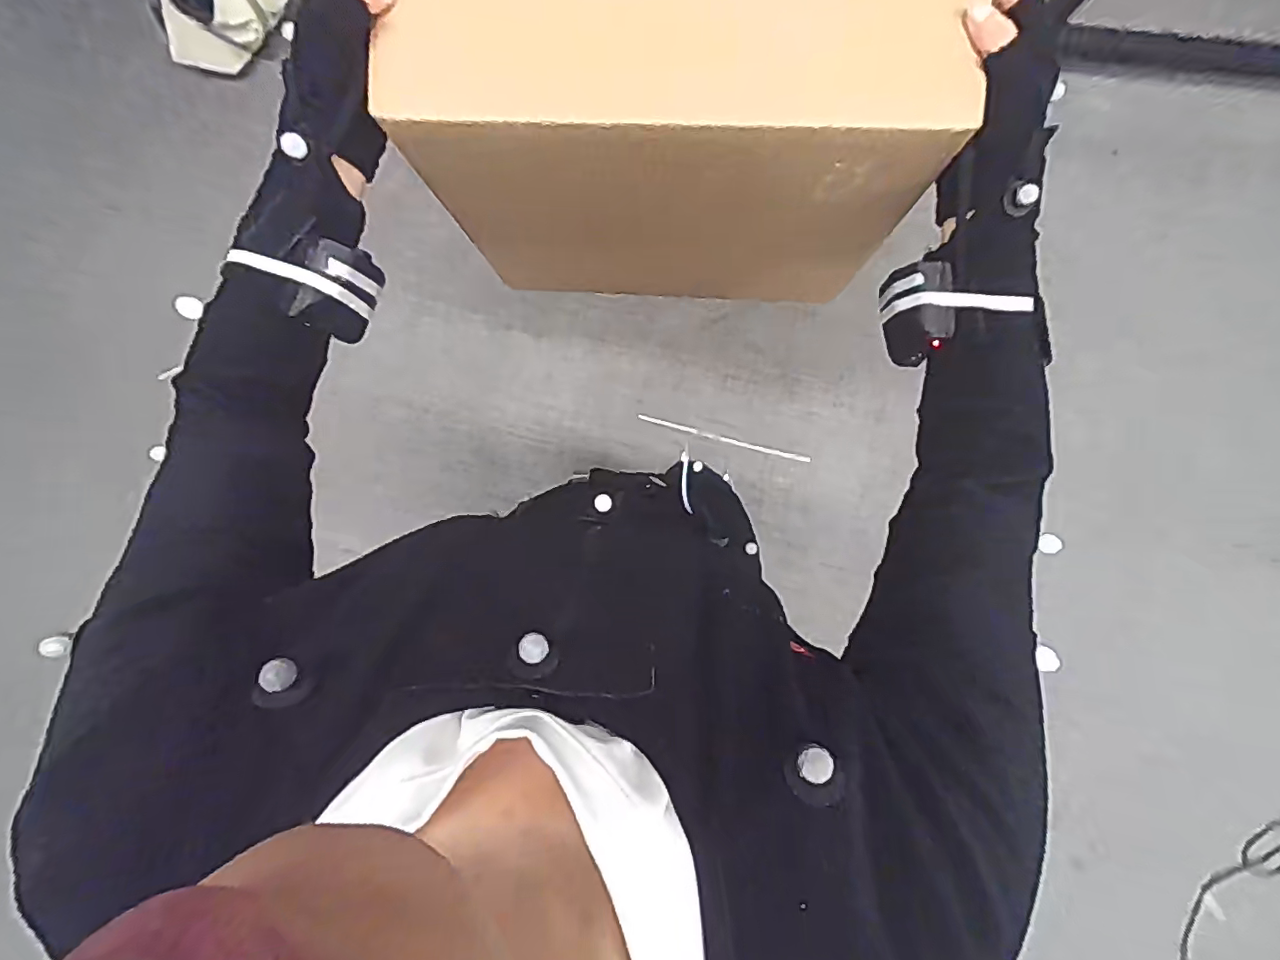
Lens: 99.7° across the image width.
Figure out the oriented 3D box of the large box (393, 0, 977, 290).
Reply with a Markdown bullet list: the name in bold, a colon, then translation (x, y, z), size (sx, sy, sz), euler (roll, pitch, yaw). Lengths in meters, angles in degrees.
- **large box**: translation (0.035, -0.391, 0.520), size (0.408, 0.320, 0.320), euler (3, 89, 2)
